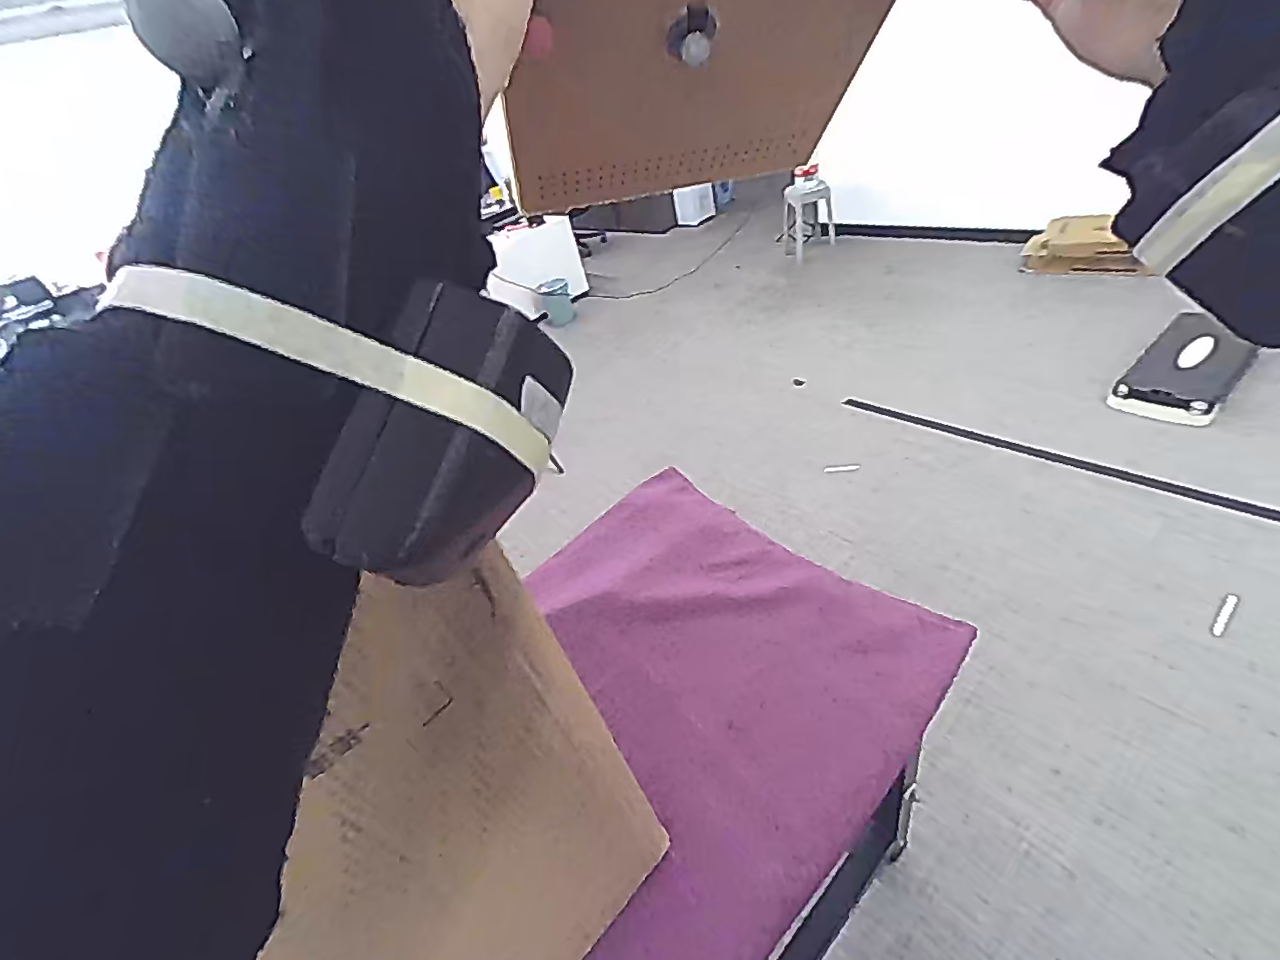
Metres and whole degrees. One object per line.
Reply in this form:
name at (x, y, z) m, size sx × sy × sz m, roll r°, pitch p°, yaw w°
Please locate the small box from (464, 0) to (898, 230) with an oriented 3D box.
small box at (0.006, -0.250, 0.252) m, size 0.179 × 0.176 × 0.168 m, roll -15°, pitch 81°, yaw -8°
